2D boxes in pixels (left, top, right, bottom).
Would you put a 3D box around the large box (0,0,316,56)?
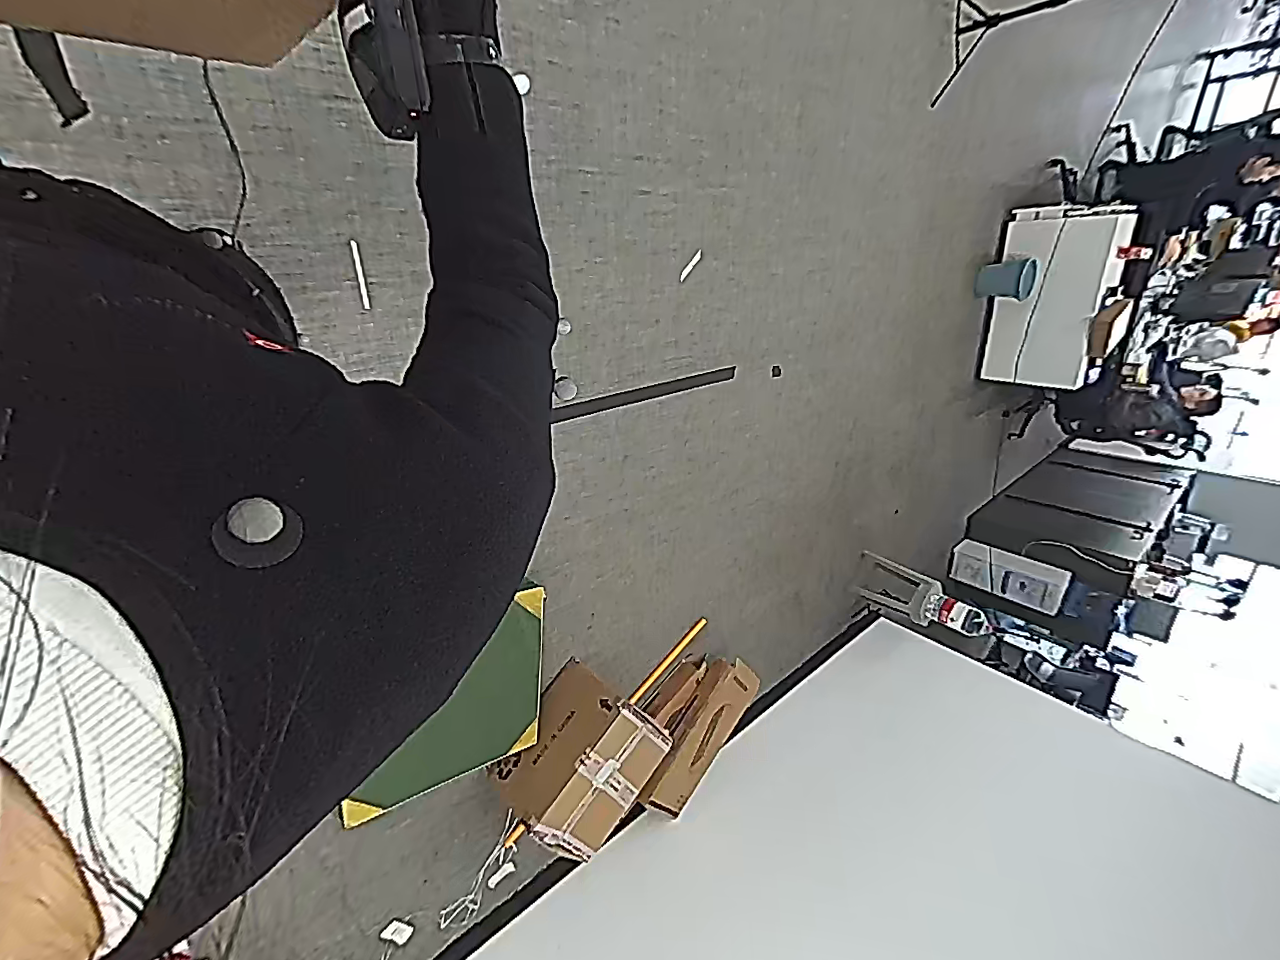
[{"bbox_3d":[-0.408,-0.425,0.229,0.408,0.320,0.320,-20,125,-37],"label":"large box"}]
